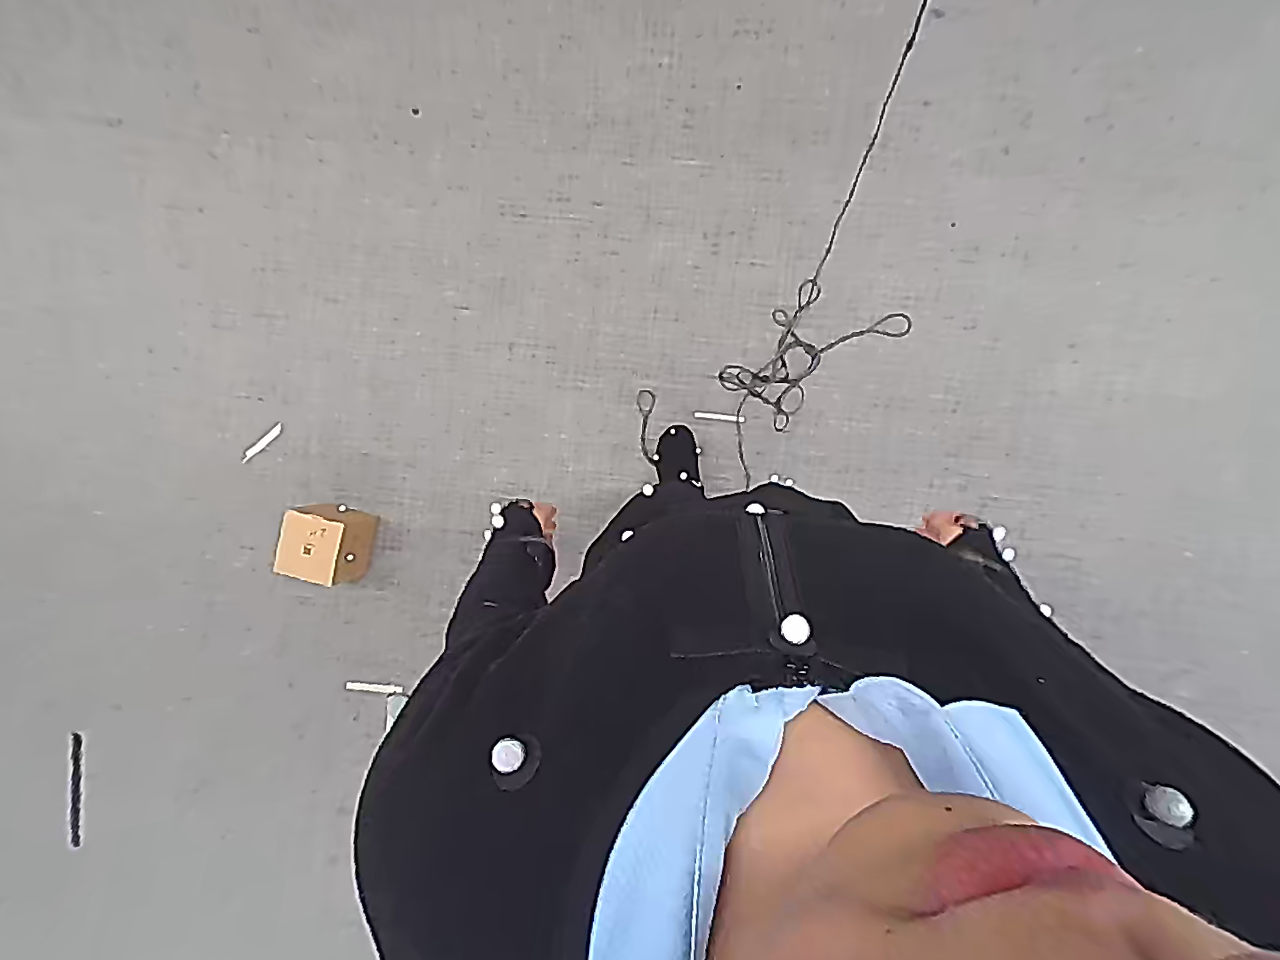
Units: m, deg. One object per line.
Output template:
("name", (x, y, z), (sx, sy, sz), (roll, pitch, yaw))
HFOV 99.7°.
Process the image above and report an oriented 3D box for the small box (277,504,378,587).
("small box", (-0.855, 0.174, 1.496), (0.168, 0.176, 0.179), (15, 94, 2))
